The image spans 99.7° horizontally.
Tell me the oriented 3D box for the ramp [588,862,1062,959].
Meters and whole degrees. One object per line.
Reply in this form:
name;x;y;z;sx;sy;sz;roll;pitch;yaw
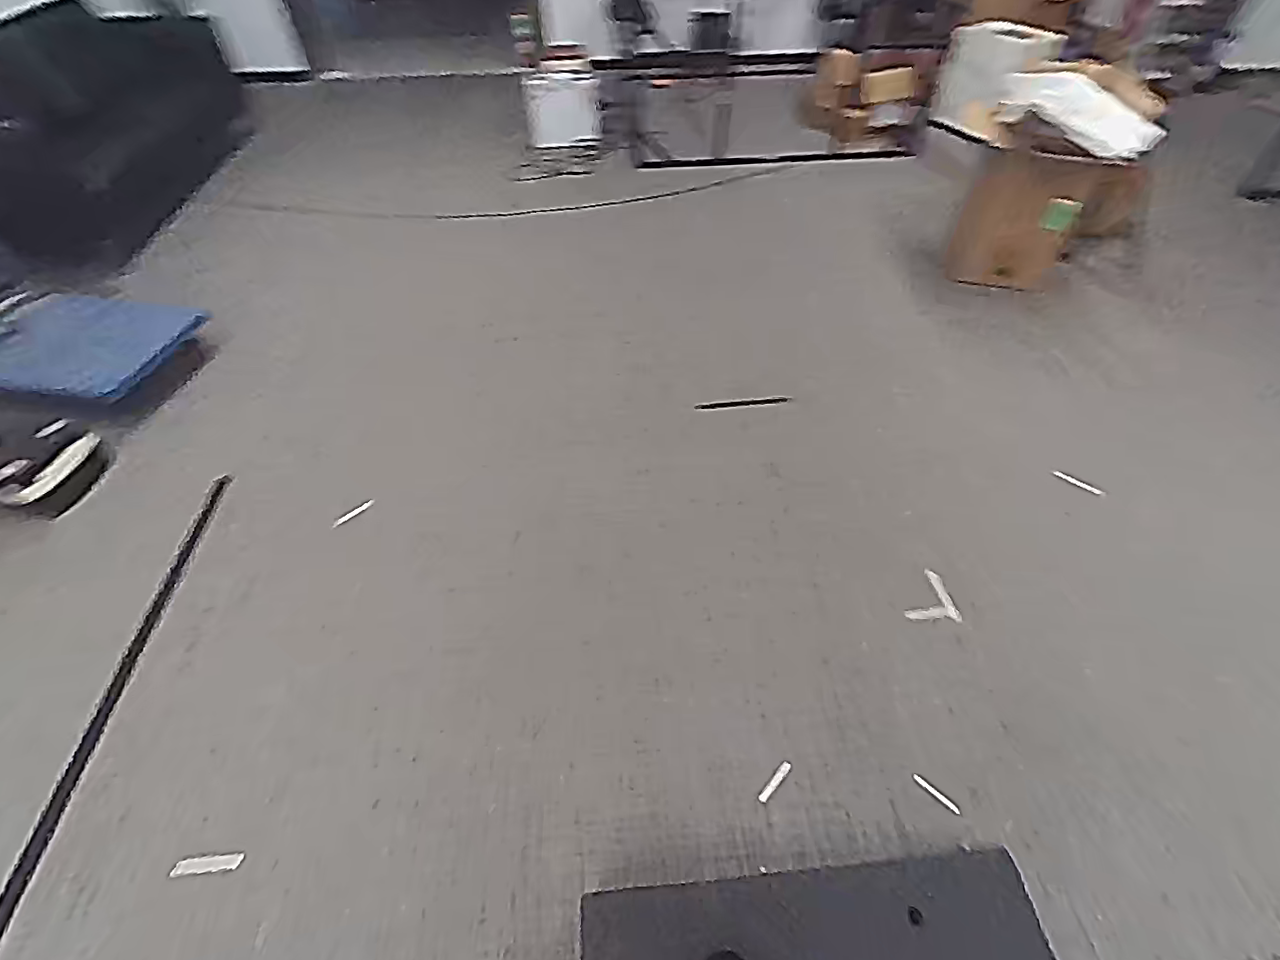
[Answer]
ramp;0.411;1.049;0.994;0.991;0.206;0.509;-6;48;-5
